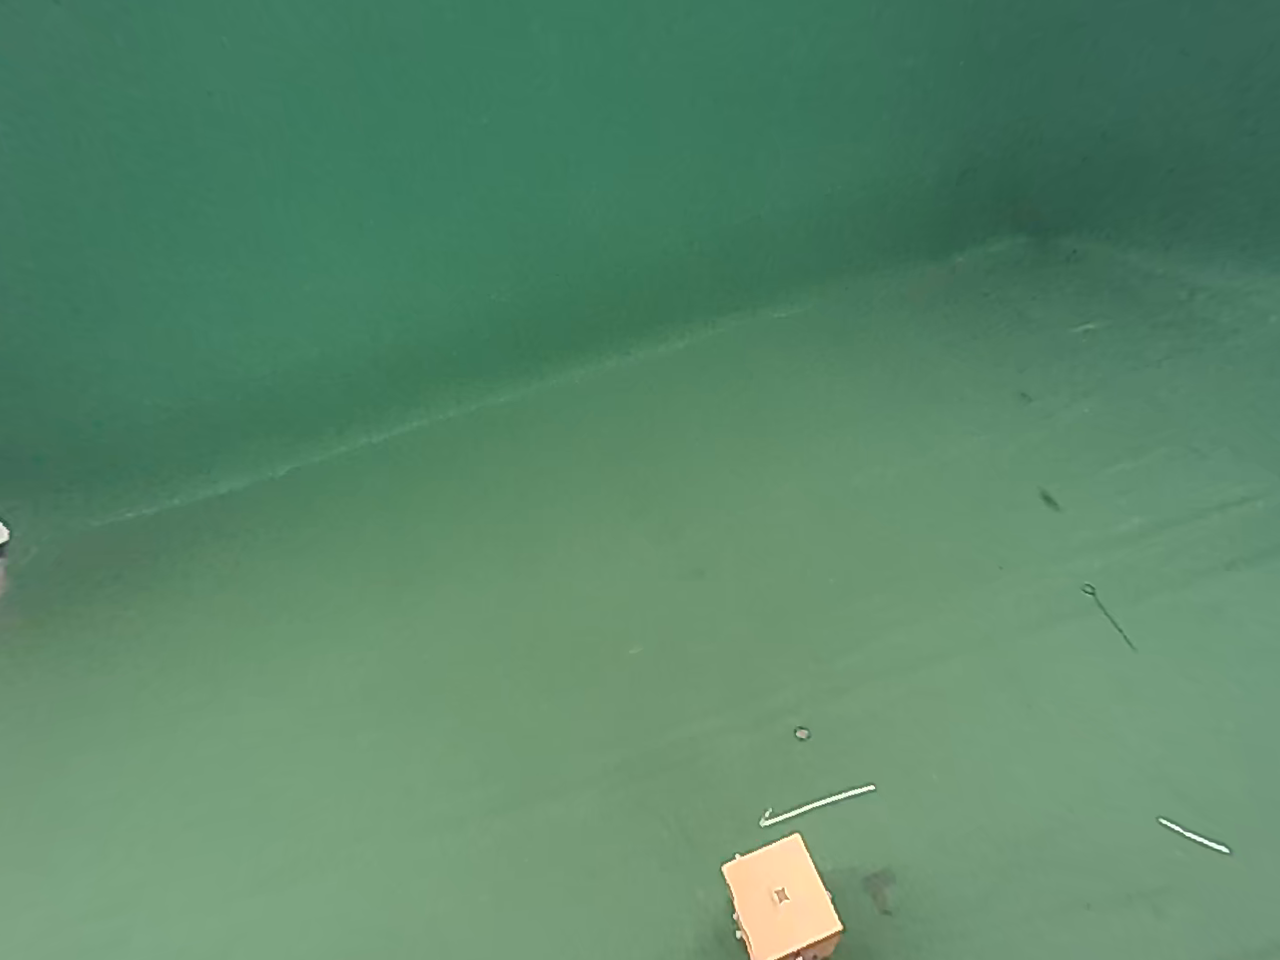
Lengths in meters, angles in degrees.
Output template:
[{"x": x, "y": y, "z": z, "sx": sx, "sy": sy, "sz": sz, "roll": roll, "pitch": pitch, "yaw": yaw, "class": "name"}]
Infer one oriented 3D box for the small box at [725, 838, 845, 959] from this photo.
[{"x": 0.289, "y": 0.863, "z": 1.092, "sx": 0.179, "sy": 0.176, "sz": 0.168, "roll": -21, "pitch": 43, "yaw": -4, "class": "small box"}]
